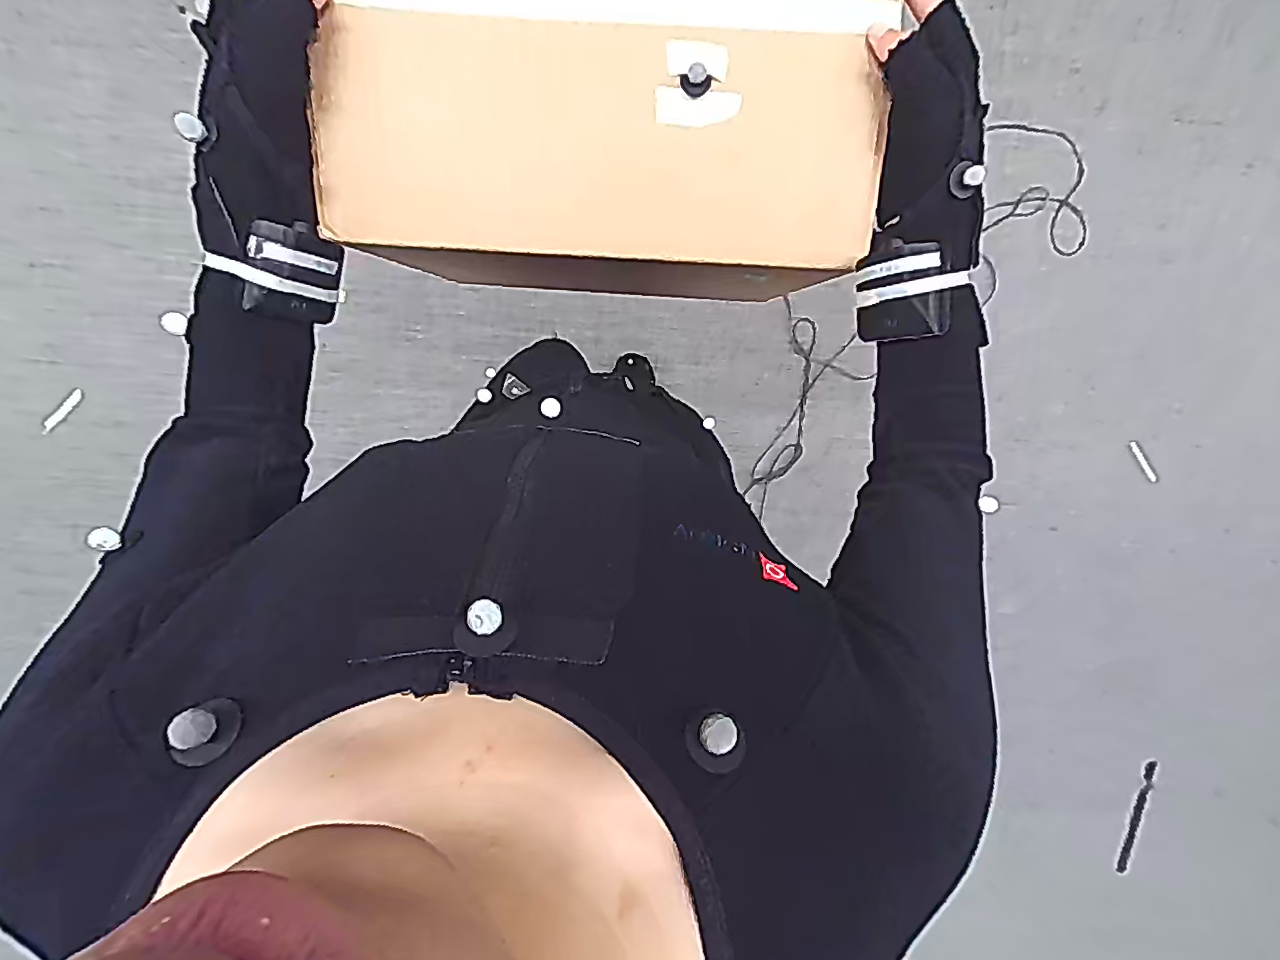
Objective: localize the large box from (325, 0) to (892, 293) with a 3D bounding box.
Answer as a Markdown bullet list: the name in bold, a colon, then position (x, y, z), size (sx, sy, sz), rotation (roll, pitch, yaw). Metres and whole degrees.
- **large box**: position (-0.025, -0.364, 0.524), size (0.408, 0.320, 0.320), rotation (2, 104, -2)
